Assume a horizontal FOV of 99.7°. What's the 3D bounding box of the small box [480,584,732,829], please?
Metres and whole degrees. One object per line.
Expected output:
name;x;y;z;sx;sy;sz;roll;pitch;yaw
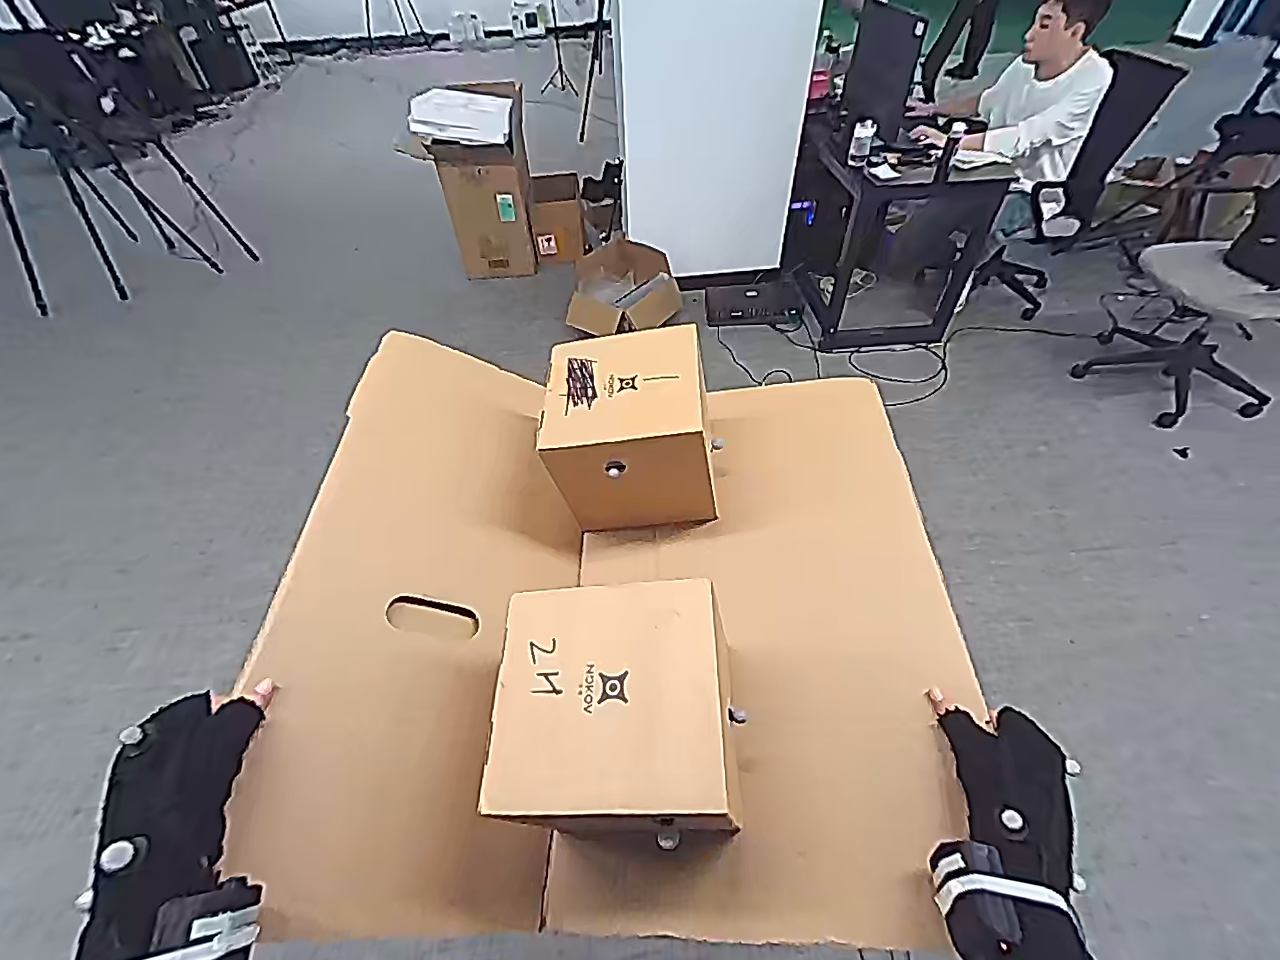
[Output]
small box;-0.012;0.205;0.480;0.179;0.176;0.168;-6;54;11

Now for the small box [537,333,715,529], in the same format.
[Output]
small box;-0.006;-0.052;0.665;0.179;0.176;0.168;-6;54;10
